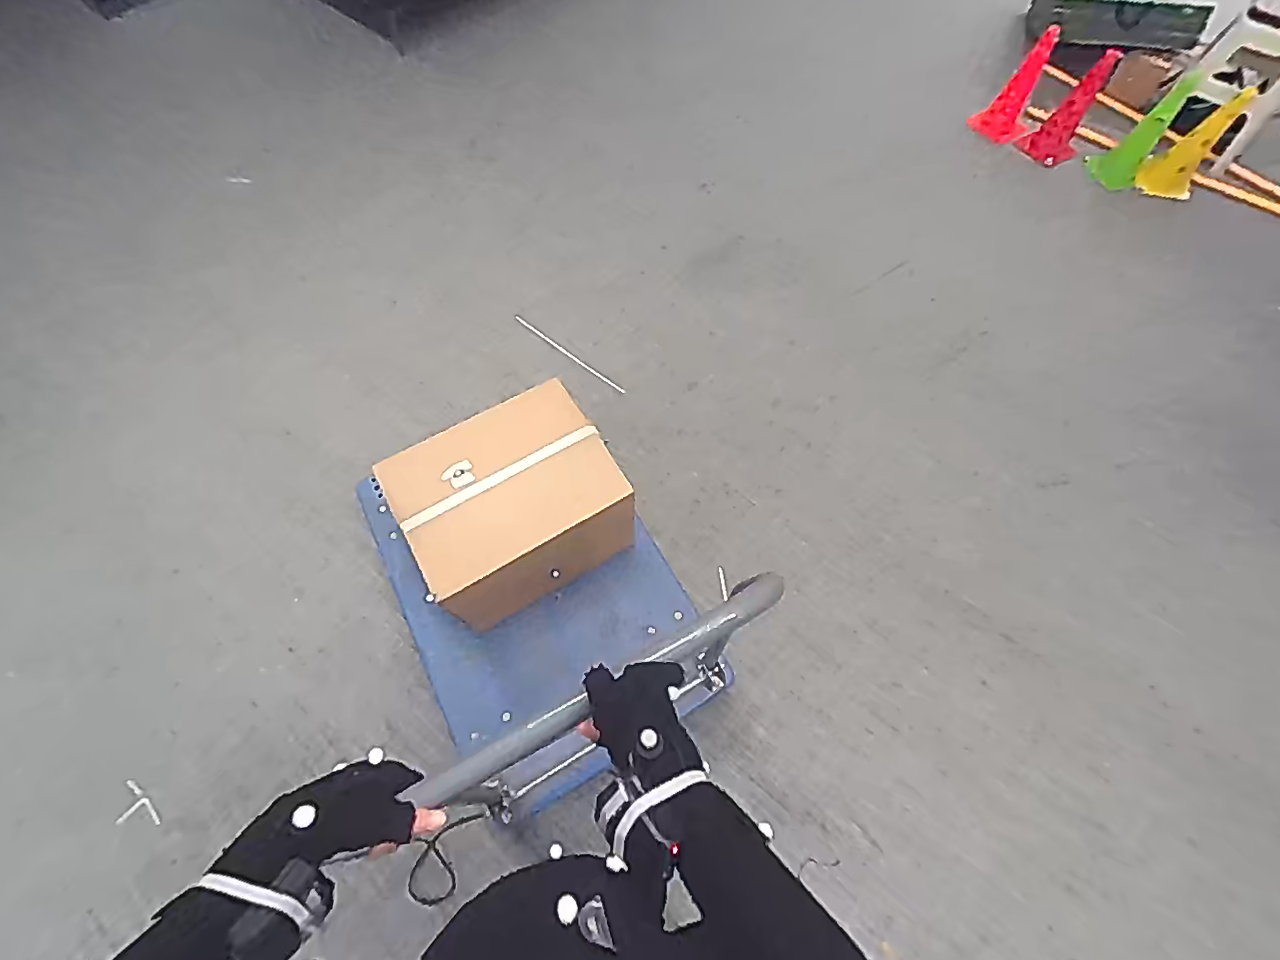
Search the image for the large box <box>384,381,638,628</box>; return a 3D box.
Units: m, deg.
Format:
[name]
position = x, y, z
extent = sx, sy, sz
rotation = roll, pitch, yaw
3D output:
[large box]
position = -0.251, 0.063, 1.173
extent = 0.408, 0.320, 0.320
rotation = -30, 68, -14
